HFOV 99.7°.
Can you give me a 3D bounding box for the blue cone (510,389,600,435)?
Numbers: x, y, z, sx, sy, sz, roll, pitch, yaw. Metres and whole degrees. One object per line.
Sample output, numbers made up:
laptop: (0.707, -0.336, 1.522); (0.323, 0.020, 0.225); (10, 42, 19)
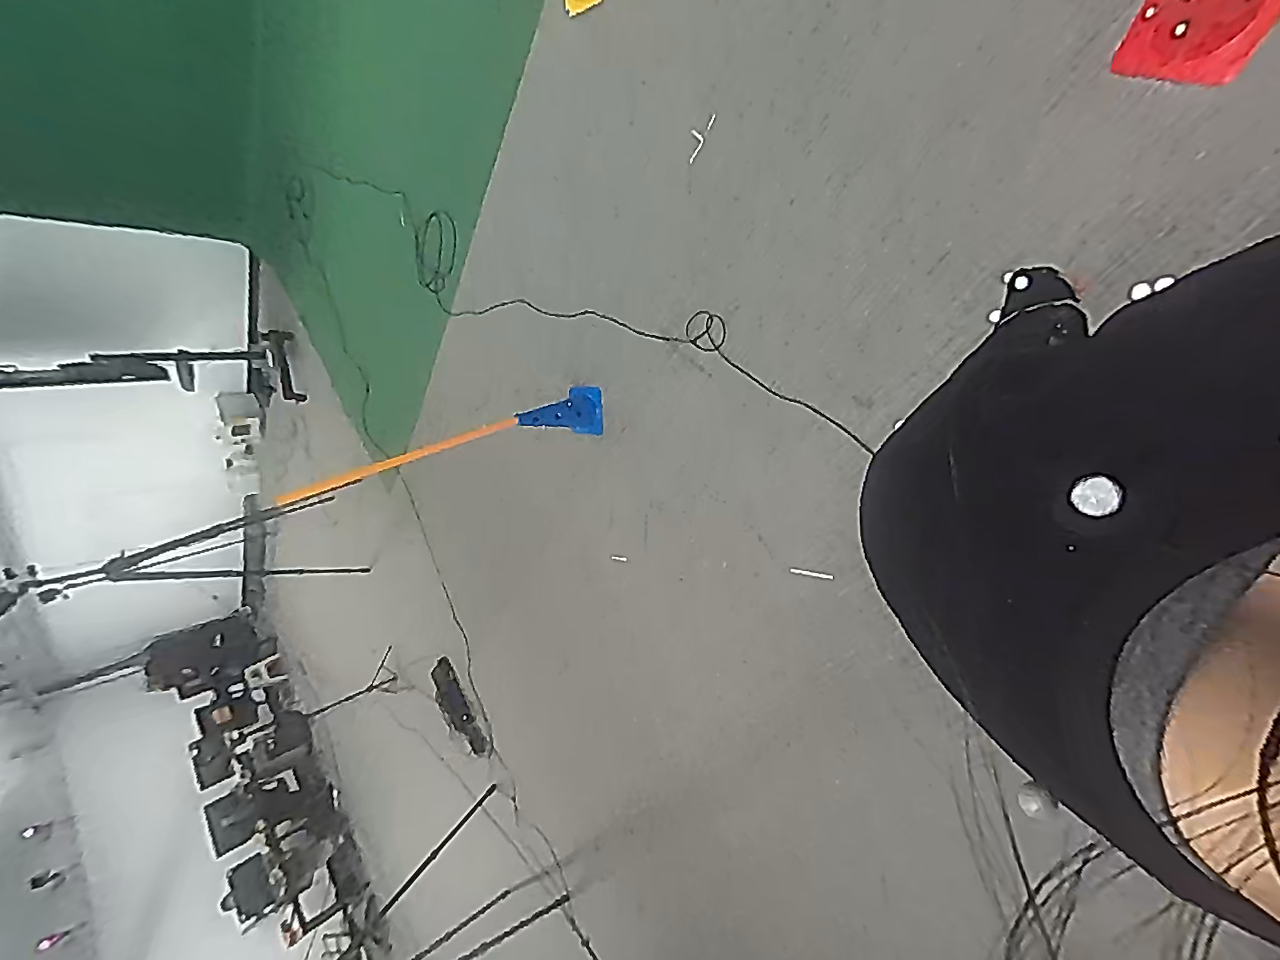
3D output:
blue cone: (-0.349, -0.251, 2.171); (0.192, 0.380, 0.193); (7, 107, 42)
